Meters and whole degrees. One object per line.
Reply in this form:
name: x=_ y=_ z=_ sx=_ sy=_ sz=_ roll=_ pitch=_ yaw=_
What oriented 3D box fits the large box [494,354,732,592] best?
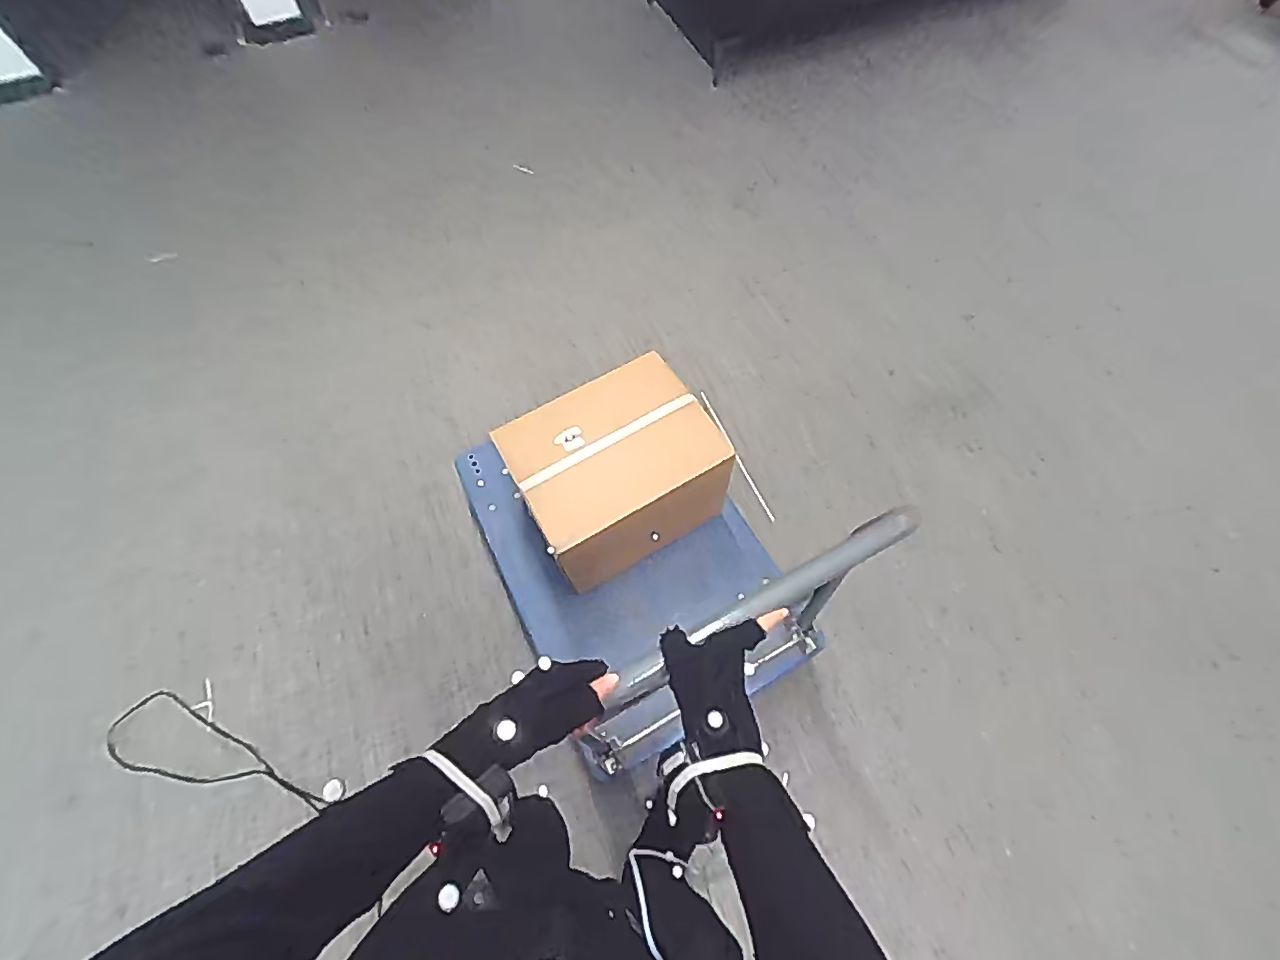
large box: x=-0.051 y=-0.005 z=1.230 sx=0.408 sy=0.320 sz=0.320 roll=-30 pitch=65 yaw=-10
